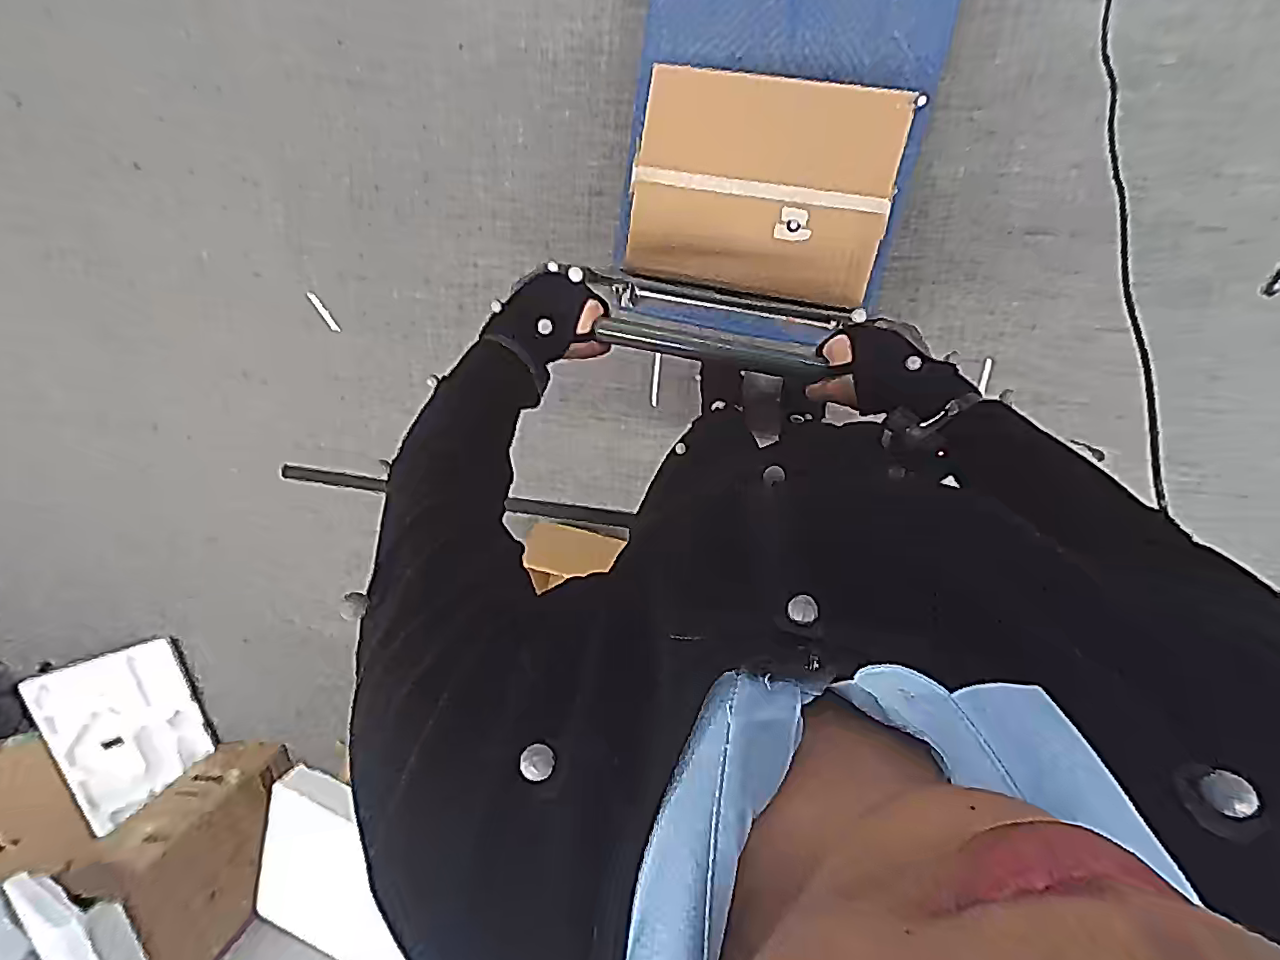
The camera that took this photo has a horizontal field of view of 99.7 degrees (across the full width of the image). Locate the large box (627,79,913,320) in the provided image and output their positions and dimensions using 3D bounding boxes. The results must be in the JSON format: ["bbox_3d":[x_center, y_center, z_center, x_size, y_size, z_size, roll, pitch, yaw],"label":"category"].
[{"bbox_3d":[0.215,-0.487,1.006,0.408,0.320,0.320,12,108,8],"label":"large box"}]
